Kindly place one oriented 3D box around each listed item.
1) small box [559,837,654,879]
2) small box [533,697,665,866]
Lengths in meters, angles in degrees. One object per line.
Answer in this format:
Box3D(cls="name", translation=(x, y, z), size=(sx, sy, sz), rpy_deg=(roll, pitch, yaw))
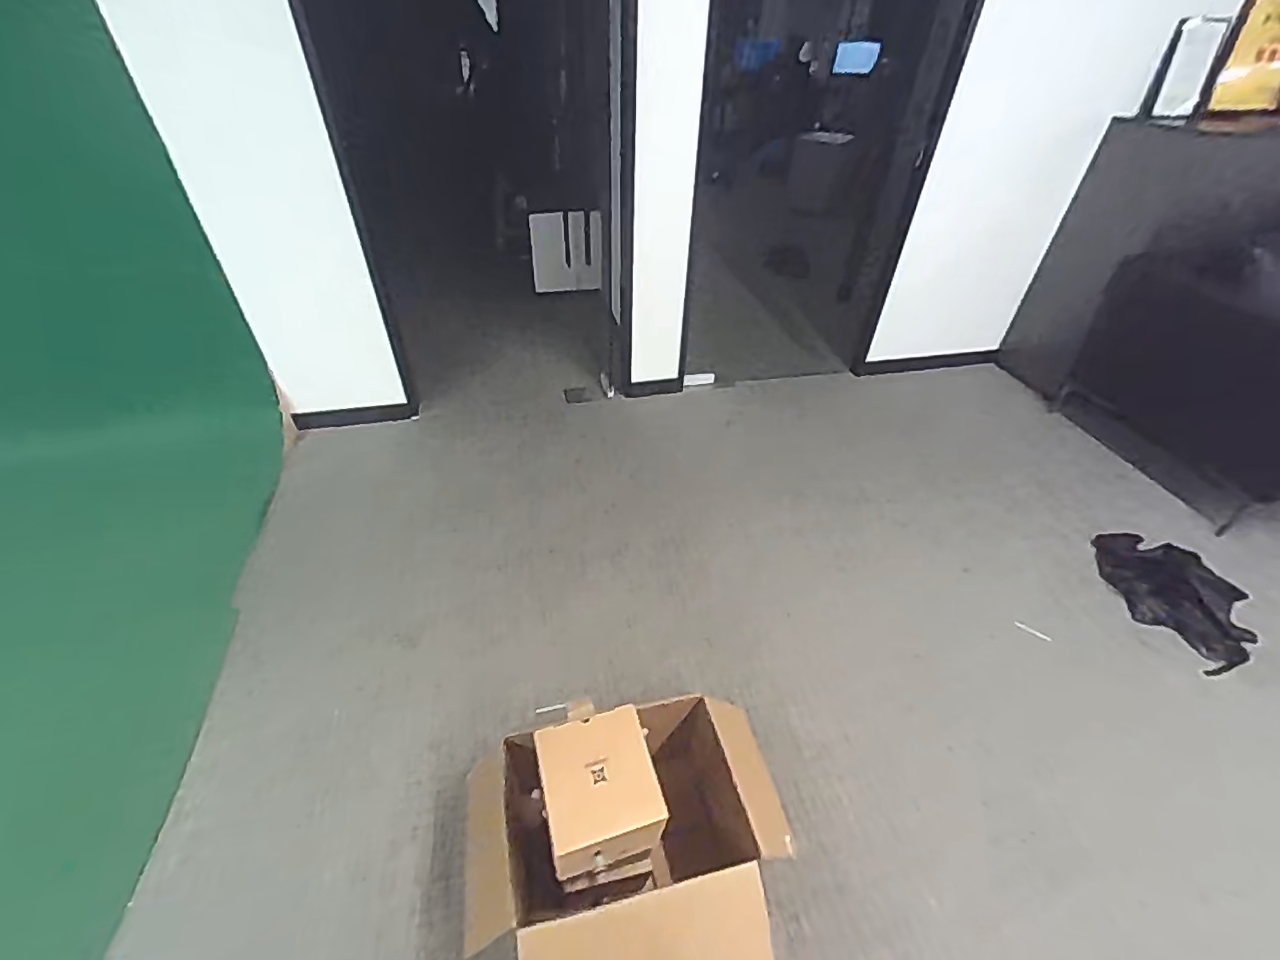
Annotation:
Box3D(cls="small box", translation=(-0.079, 0.586, 0.984), size=(0.168, 0.176, 0.179), rpy_deg=(-9, 46, -14))
Box3D(cls="small box", translation=(-0.068, 0.483, 0.859), size=(0.168, 0.176, 0.179), rpy_deg=(-11, 45, -15))
